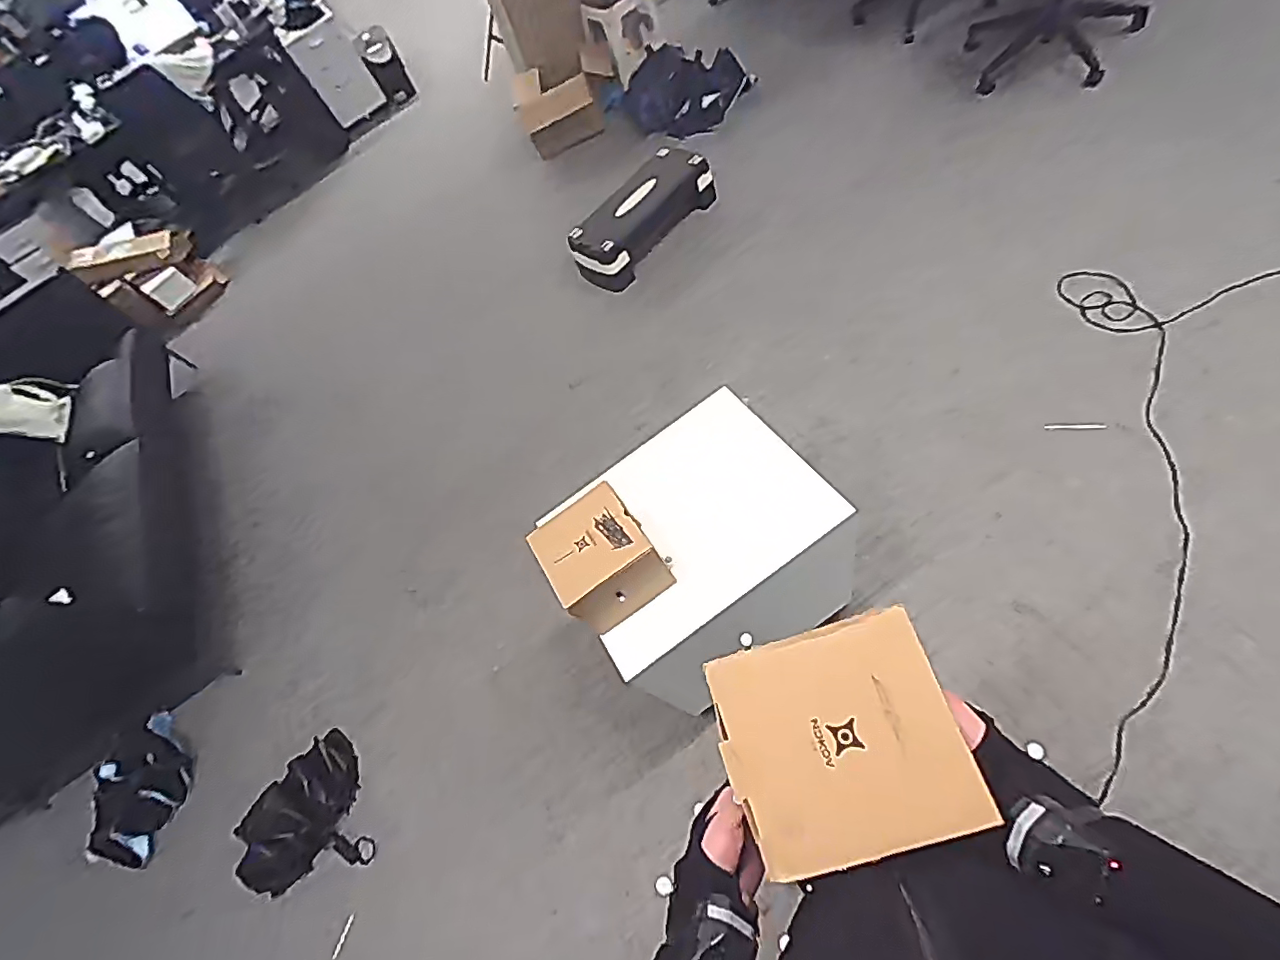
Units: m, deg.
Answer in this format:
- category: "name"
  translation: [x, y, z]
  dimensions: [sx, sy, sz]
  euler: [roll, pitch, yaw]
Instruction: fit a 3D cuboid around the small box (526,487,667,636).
- category: "small box"
  translation: [-0.067, 0.150, 0.971]
  dimensions: [0.179, 0.176, 0.168]
  euler: [-36, 55, -2]
